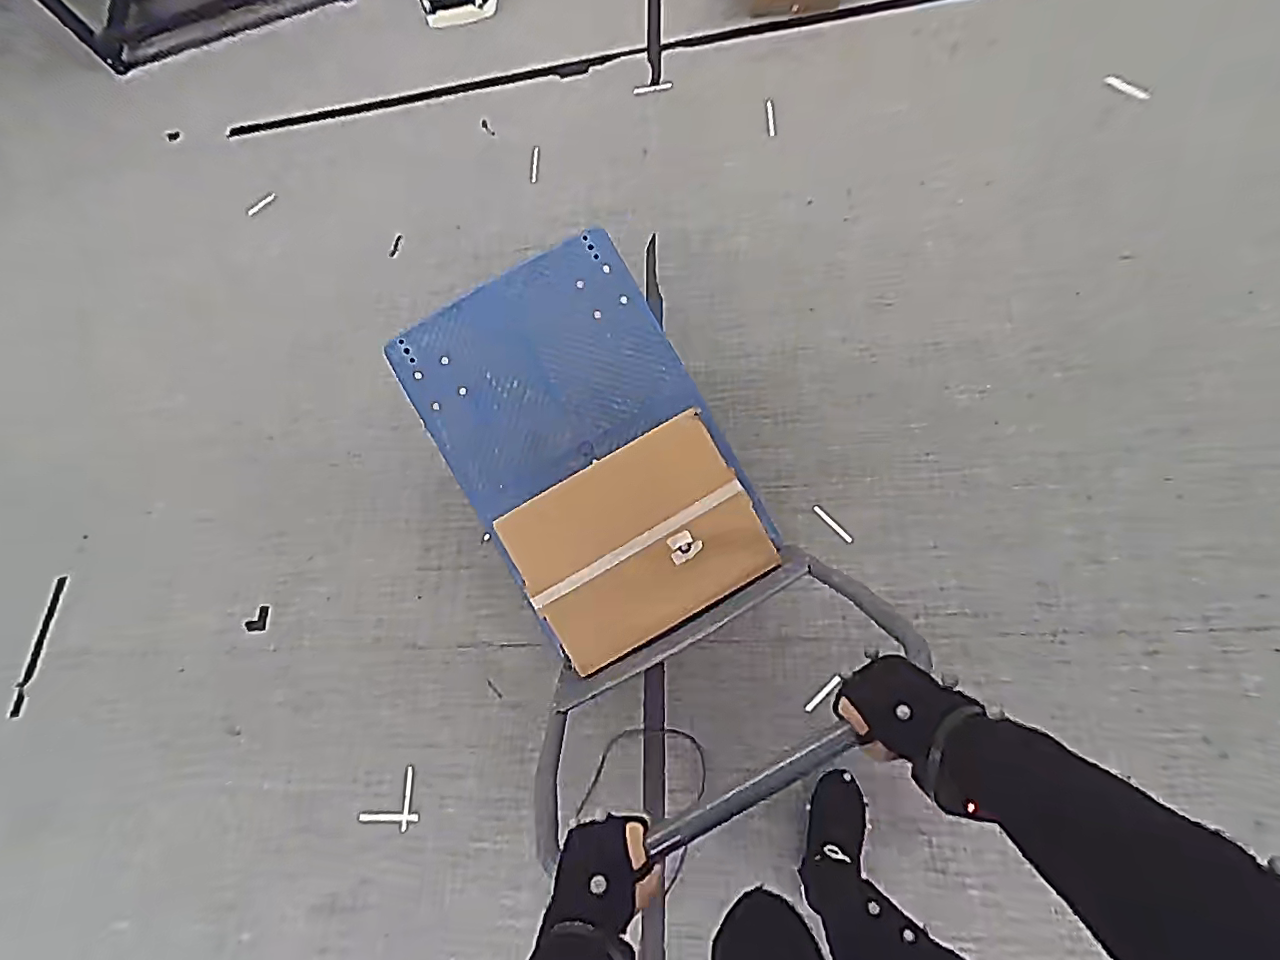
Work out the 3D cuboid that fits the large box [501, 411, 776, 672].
[{"bbox_3d":[-0.006,0.111,1.100,0.408,0.320,0.320,-31,91,-2],"label":"large box"}]
